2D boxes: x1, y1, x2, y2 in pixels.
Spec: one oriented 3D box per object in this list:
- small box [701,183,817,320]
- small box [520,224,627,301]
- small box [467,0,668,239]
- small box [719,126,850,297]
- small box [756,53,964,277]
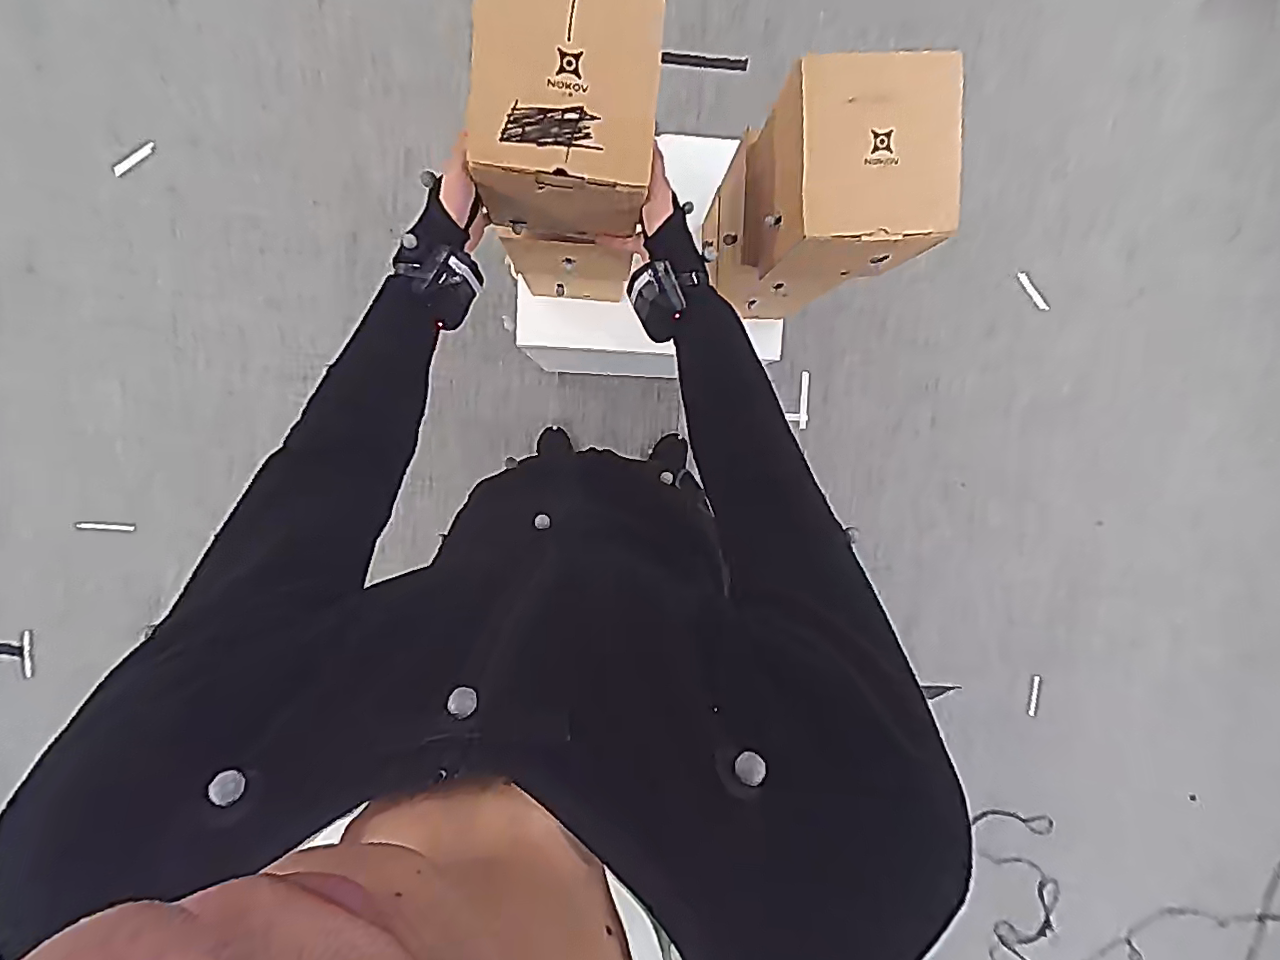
[{"bbox_3d":[0.201,-0.387,0.940,0.168,0.176,0.179,1,96,-3],"label":"small box"},{"bbox_3d":[-0.105,-0.413,0.918,0.168,0.176,0.179,3,96,-5],"label":"small box"},{"bbox_3d":[-0.072,-0.365,0.553,0.168,0.176,0.179,4,97,-8],"label":"small box"},{"bbox_3d":[0.211,-0.369,0.776,0.168,0.176,0.179,1,96,-3],"label":"small box"},{"bbox_3d":[0.236,-0.338,0.616,0.168,0.176,0.179,-4,96,-4],"label":"small box"}]
